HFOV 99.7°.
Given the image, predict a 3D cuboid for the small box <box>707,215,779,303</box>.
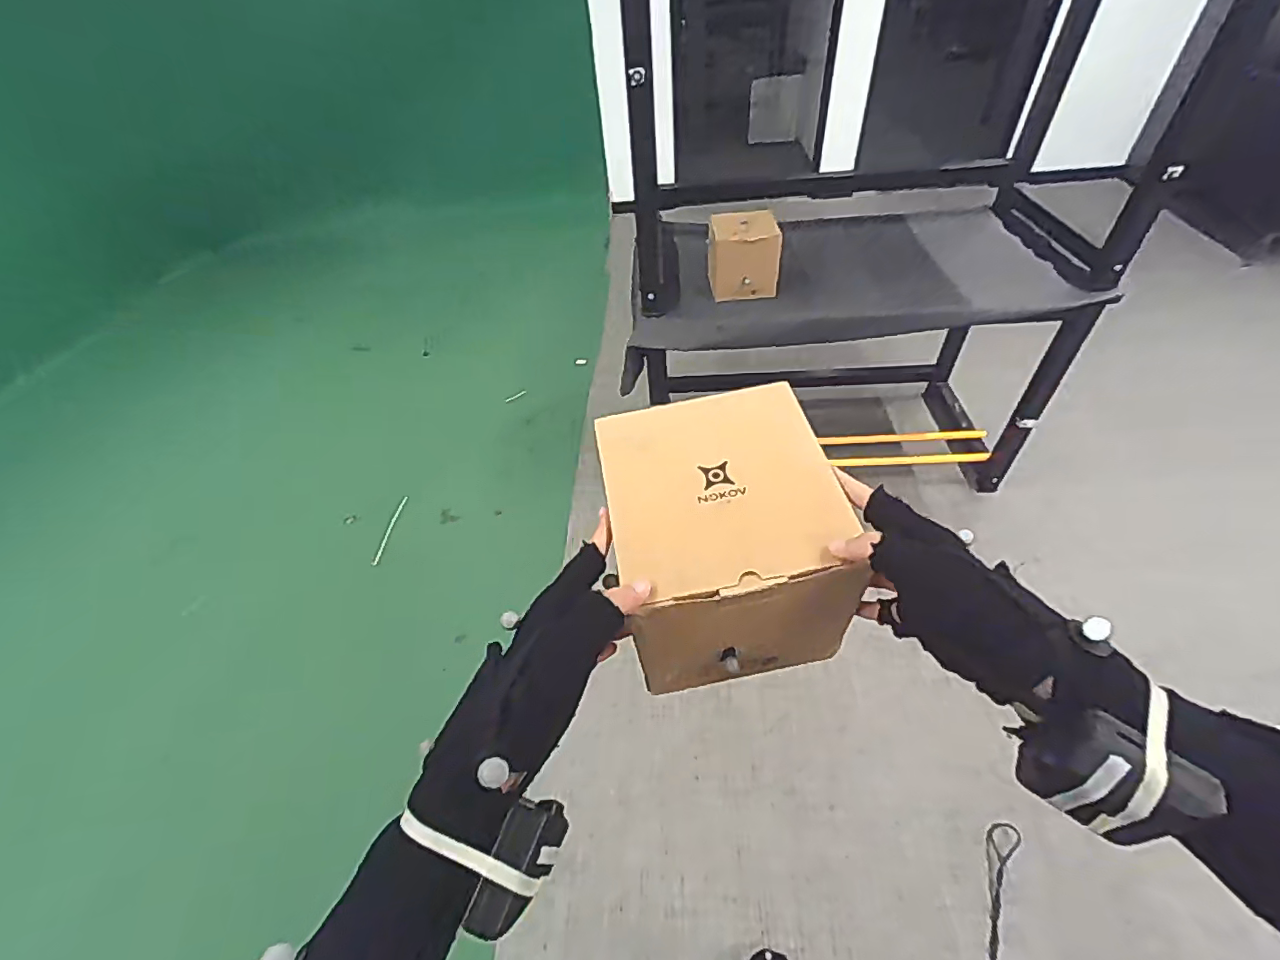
[{"bbox_3d":[0.274,-0.602,1.476,0.168,0.176,0.179,-4,46,3],"label":"small box"}]
